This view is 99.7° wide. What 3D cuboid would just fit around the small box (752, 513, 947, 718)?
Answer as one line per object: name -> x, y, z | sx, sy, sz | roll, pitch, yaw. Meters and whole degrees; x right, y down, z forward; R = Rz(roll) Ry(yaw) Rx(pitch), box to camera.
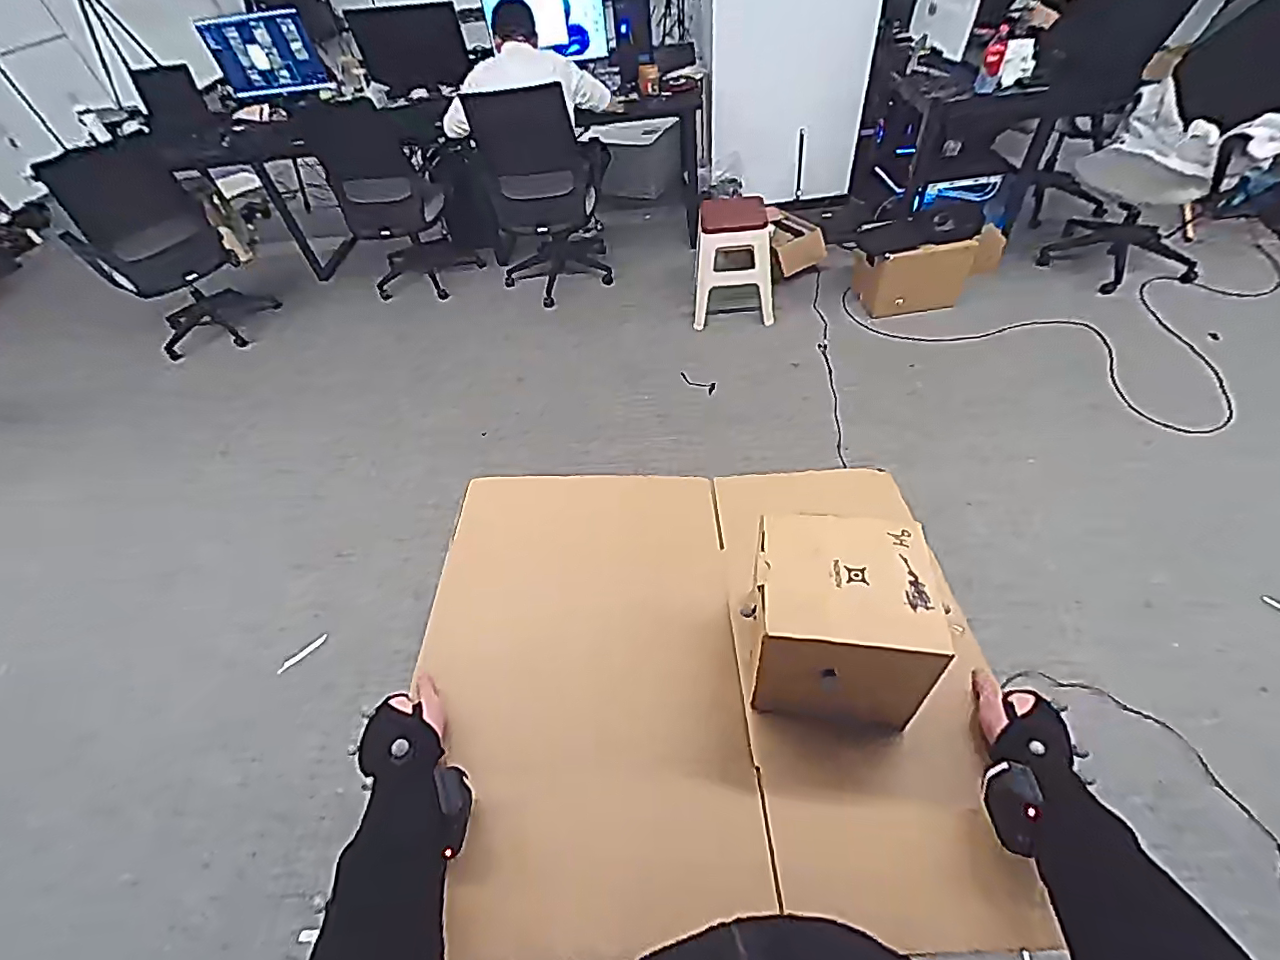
small box -> 0.223, 0.157, 0.630 | 0.179, 0.176, 0.168 | 3, 45, 10
